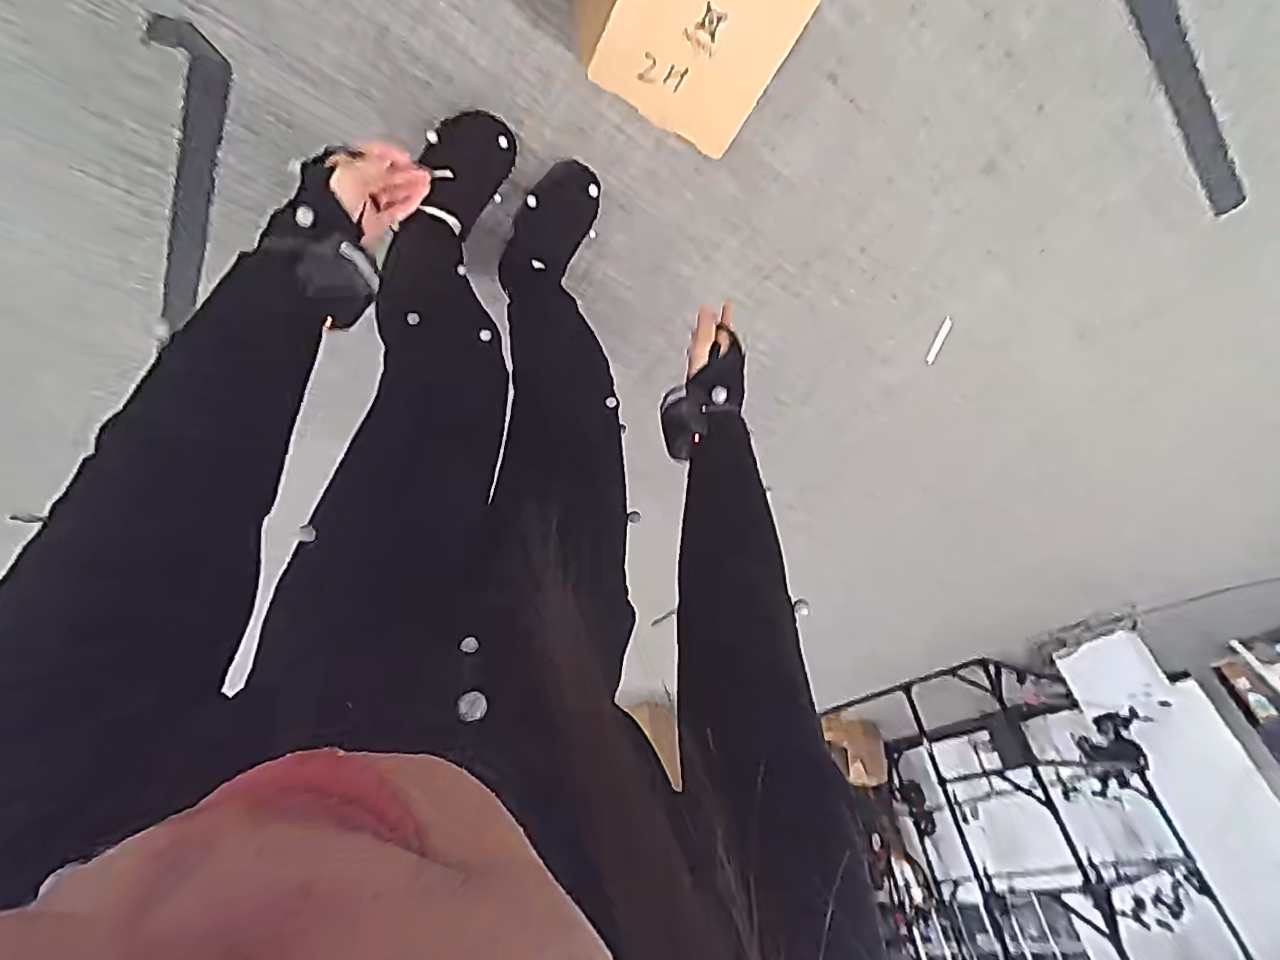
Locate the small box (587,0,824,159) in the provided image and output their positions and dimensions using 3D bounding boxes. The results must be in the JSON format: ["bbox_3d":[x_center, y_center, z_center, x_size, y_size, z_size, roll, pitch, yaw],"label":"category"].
[{"bbox_3d":[0.053,-0.478,0.540,0.168,0.176,0.179,16,138,-28],"label":"small box"}]
